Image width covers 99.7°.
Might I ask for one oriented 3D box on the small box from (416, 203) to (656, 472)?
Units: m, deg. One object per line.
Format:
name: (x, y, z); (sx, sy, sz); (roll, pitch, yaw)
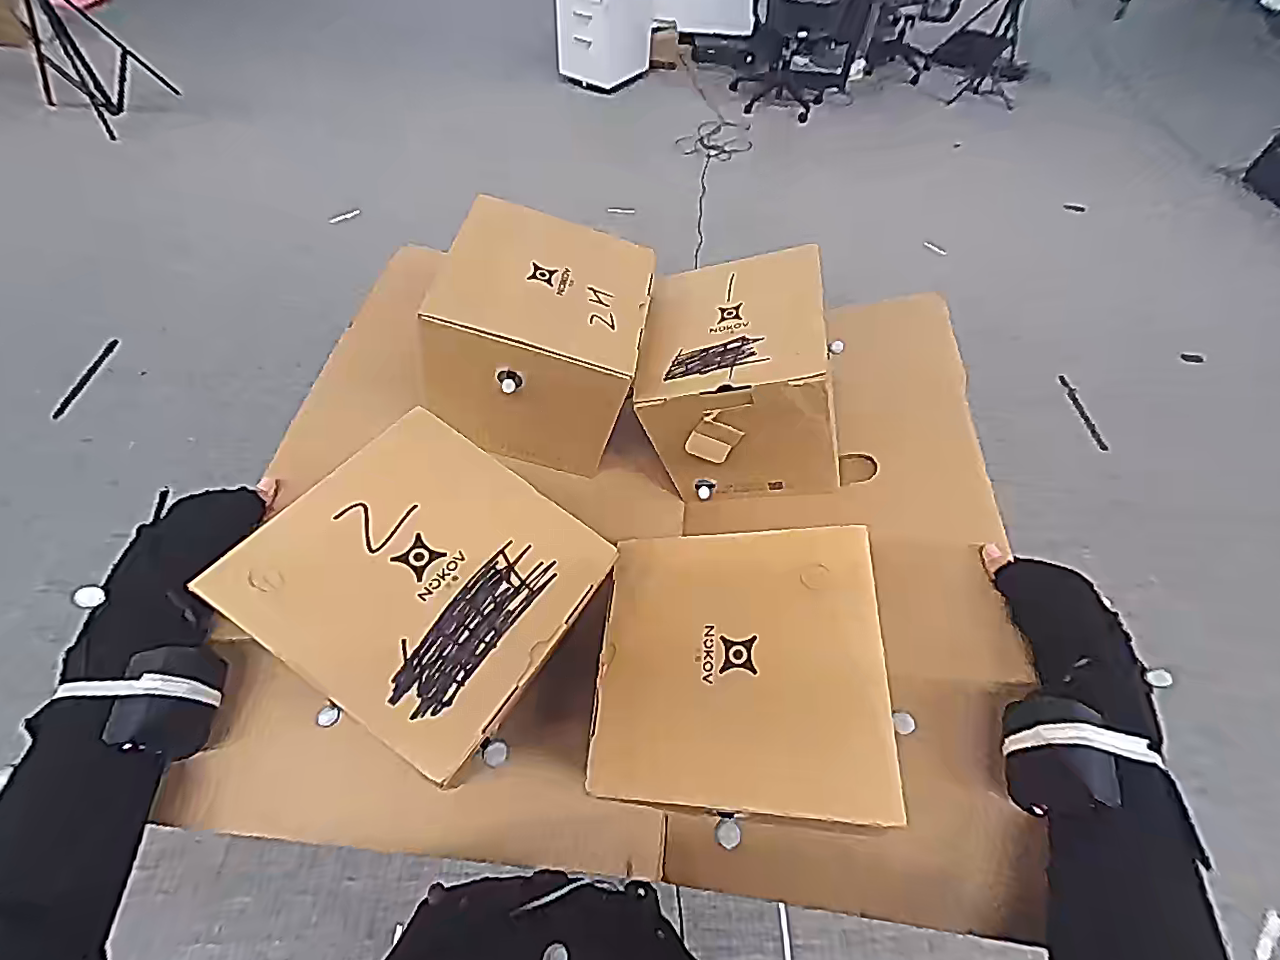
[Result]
small box: (-0.100, -0.129, 0.535); (0.179, 0.176, 0.168); (16, 58, -9)
